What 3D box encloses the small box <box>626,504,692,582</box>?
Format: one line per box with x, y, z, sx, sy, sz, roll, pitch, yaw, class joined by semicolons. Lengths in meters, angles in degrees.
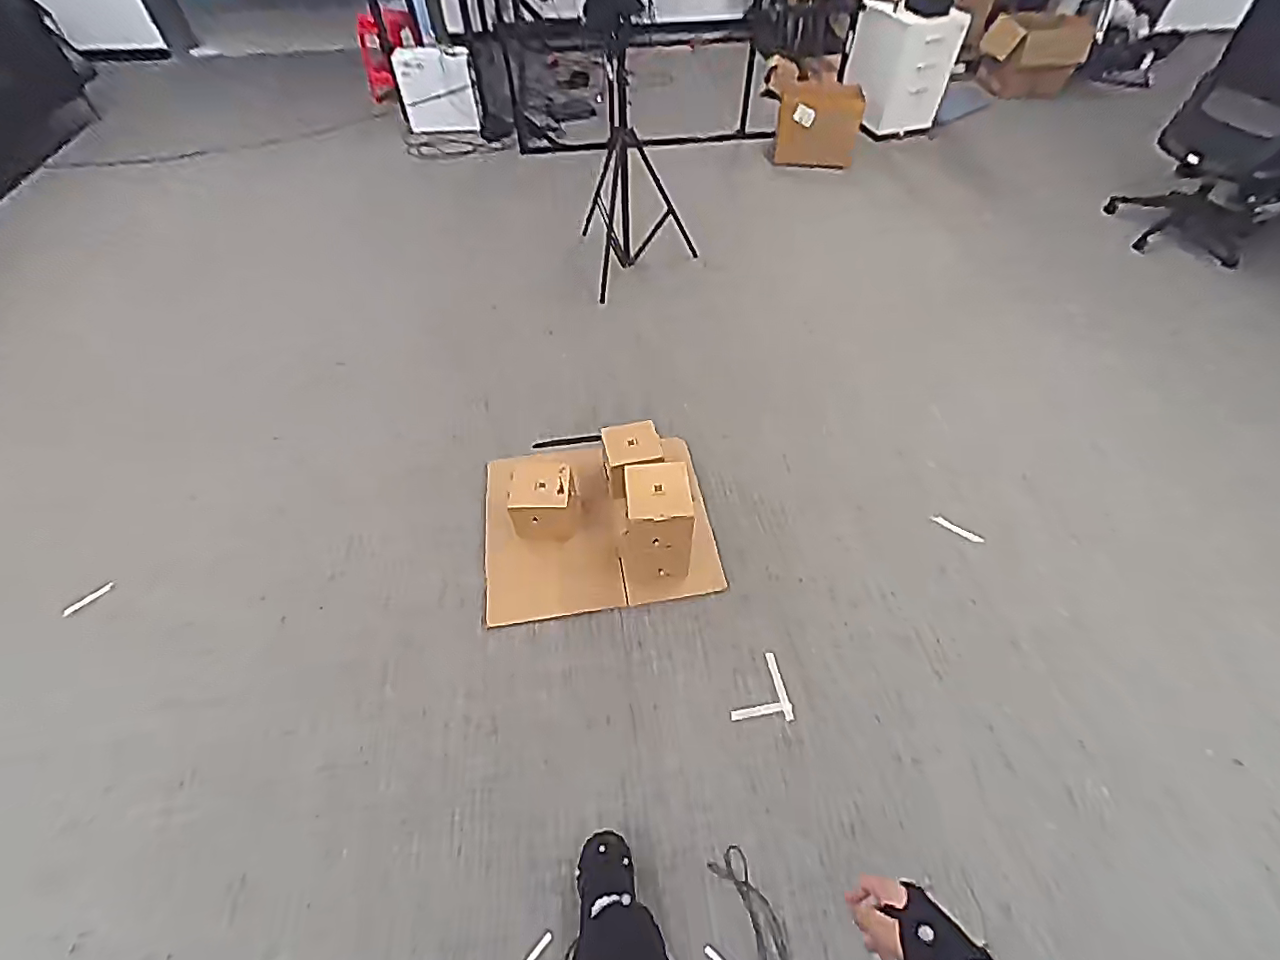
0.051;0.174;1.572;0.168;0.176;0.179;-8;54;-4;small box

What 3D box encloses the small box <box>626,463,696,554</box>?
0.050;0.076;1.442;0.168;0.176;0.179;-5;54;-3;small box

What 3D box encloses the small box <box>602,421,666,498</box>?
-0.021;-0.063;1.756;0.179;0.176;0.168;-11;52;-8;small box

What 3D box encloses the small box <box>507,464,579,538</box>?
-0.291;0.068;1.655;0.179;0.176;0.168;-1;53;2;small box
